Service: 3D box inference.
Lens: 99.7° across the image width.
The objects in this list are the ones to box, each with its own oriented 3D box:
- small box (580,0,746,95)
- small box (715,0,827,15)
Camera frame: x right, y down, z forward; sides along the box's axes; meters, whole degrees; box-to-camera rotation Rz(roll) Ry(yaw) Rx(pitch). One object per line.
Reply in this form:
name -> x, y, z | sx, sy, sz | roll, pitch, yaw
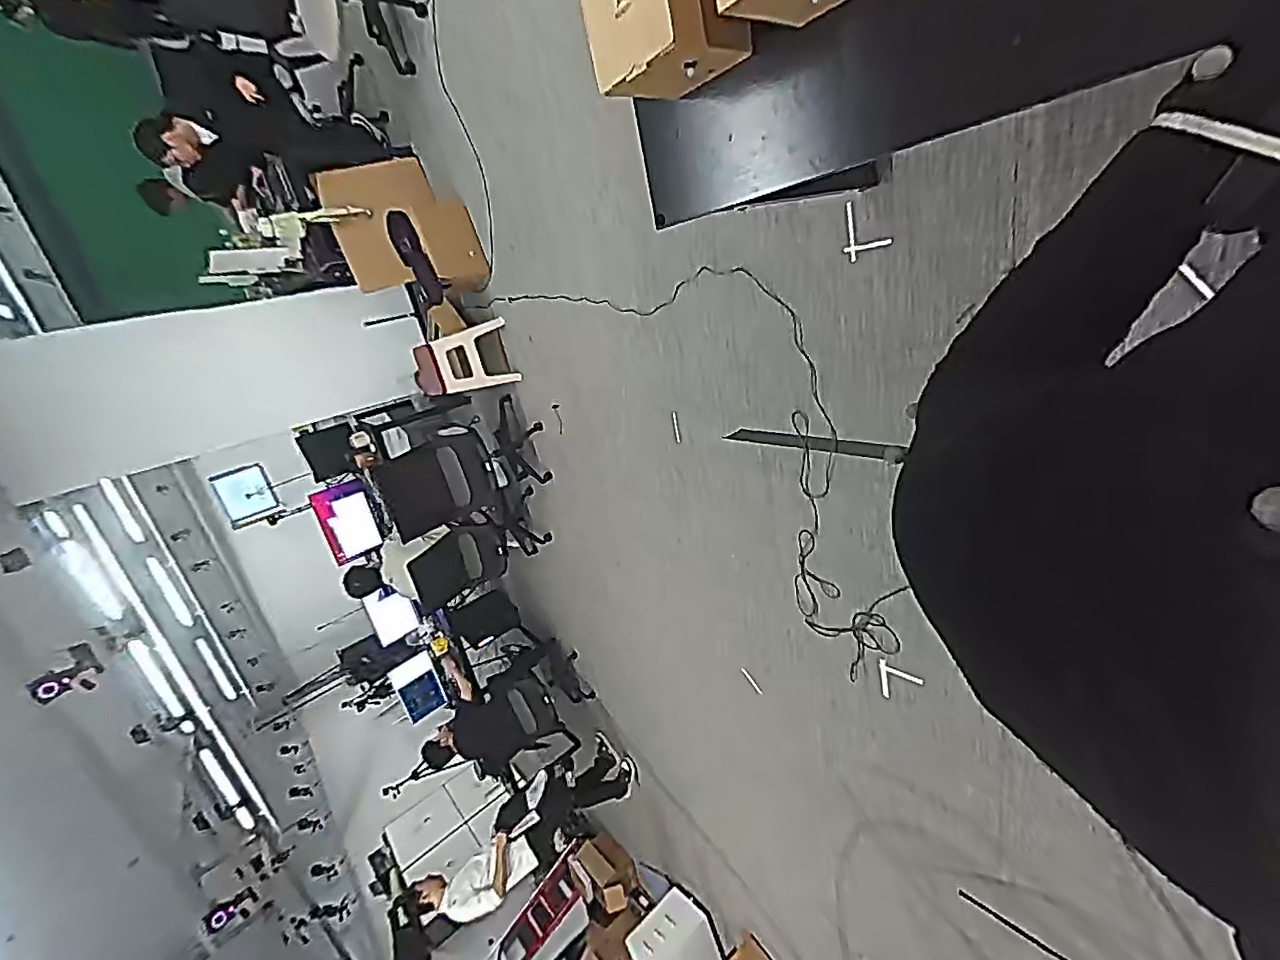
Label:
small box -> 0.033, -0.680, 0.770 | 0.168, 0.176, 0.179 | 11, 119, 49
small box -> 0.183, -0.645, 0.586 | 0.168, 0.176, 0.179 | 12, 122, 49
